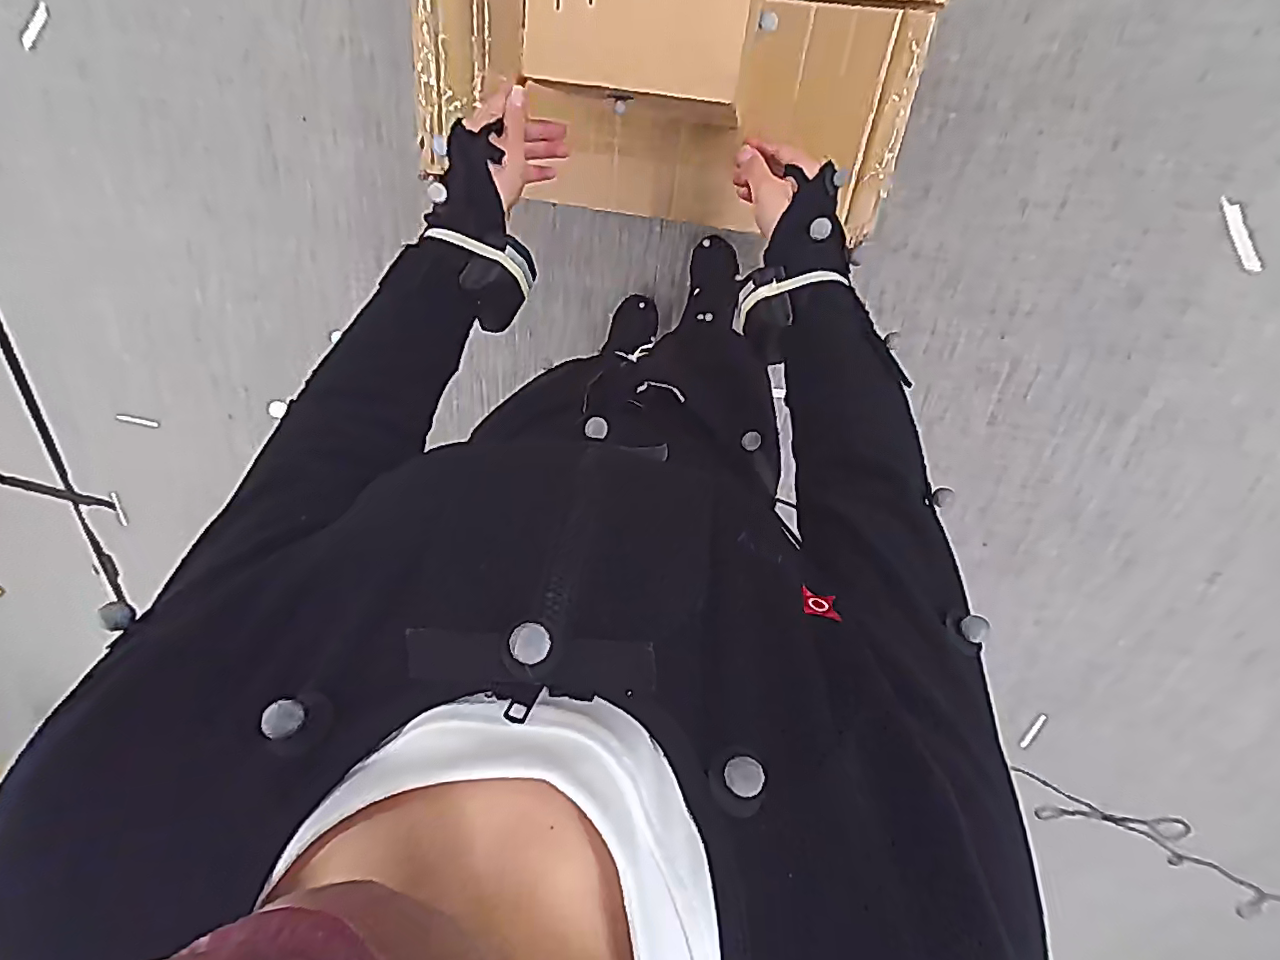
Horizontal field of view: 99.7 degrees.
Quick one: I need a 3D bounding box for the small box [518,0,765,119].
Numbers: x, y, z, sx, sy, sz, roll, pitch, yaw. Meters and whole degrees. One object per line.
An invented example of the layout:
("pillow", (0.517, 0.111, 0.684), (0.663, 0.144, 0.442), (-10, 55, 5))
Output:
("small box", (0.014, -0.418, 0.455), (0.179, 0.176, 0.168), (12, 119, 6))
